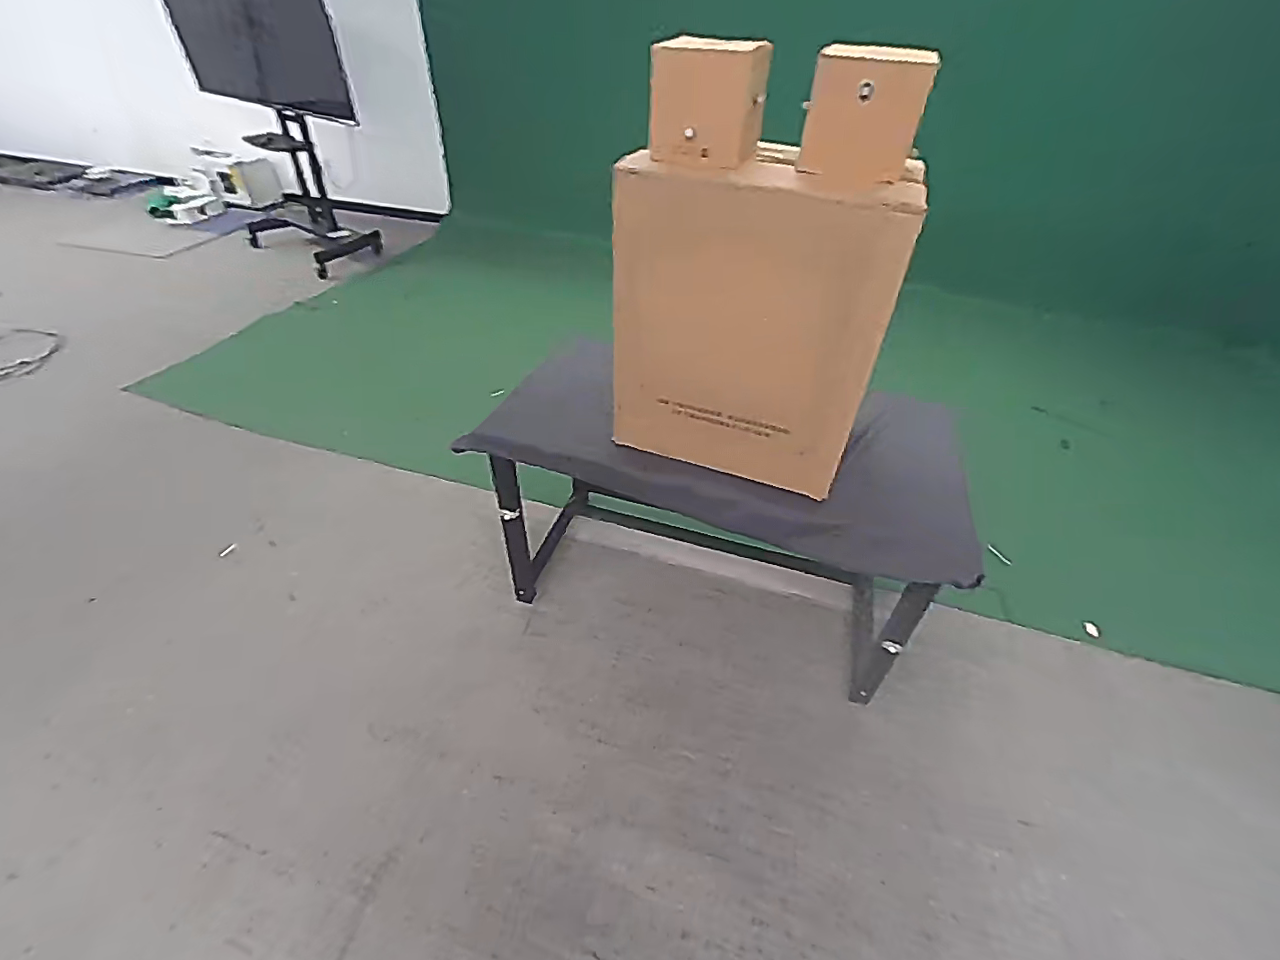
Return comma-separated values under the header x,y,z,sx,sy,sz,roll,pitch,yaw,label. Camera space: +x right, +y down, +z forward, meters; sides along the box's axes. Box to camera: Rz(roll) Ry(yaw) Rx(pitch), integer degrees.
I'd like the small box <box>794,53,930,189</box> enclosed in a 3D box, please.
x,y,z,sx,sy,sz,roll,pitch,yaw,label
0.379,-0.623,0.941,0.179,0.176,0.168,17,46,12,small box

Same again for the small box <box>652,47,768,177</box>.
x,y,z,sx,sy,sz,roll,pitch,yaw,label
0.123,-0.674,0.987,0.168,0.176,0.179,15,45,15,small box
